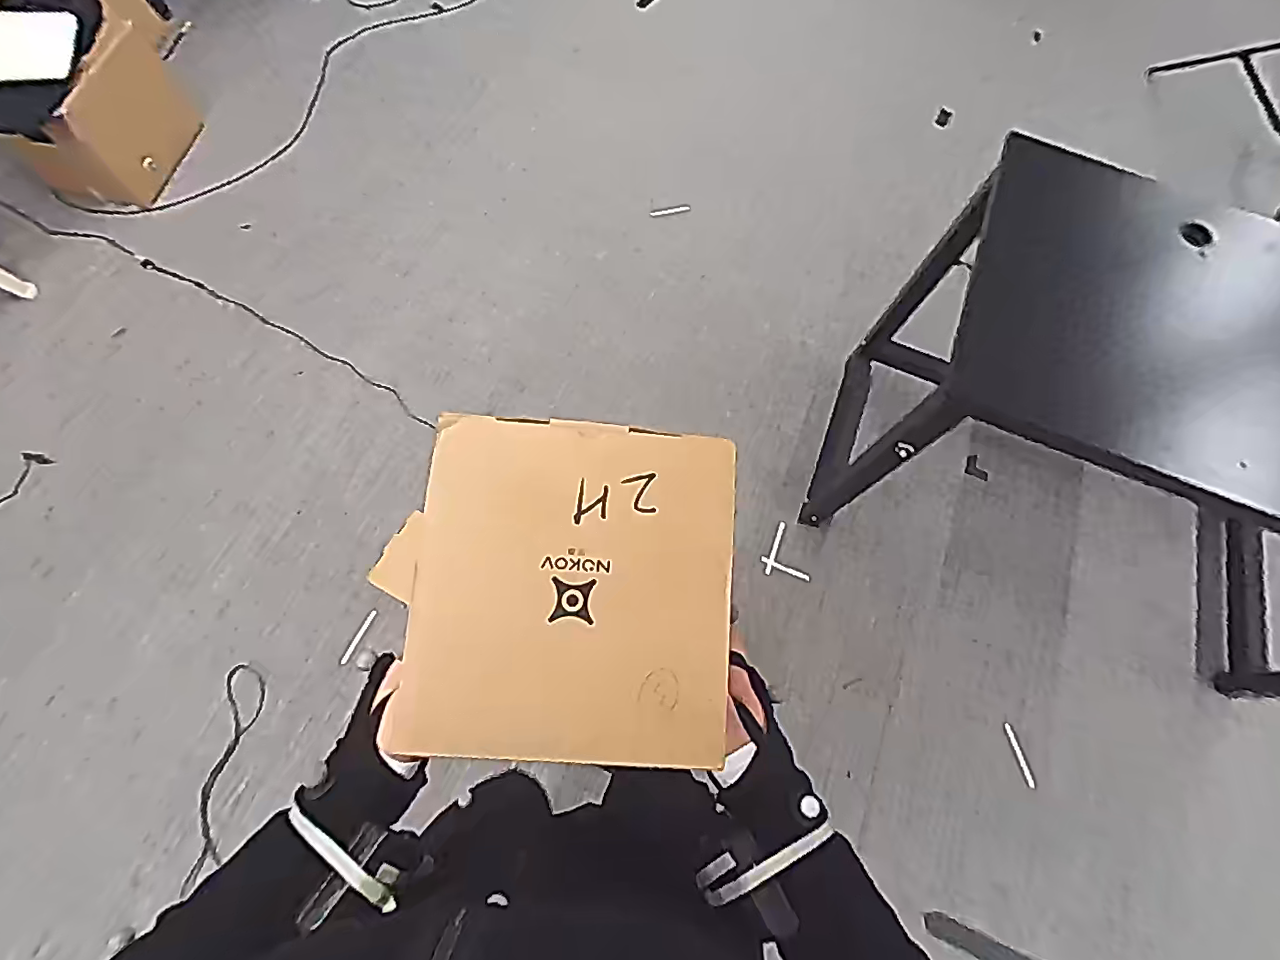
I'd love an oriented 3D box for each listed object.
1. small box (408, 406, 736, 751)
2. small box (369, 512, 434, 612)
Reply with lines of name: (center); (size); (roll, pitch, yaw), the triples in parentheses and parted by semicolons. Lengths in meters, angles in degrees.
small box: (-0.037, 0.065, 0.369); (0.168, 0.176, 0.179); (4, 77, -4)
small box: (-0.422, 0.196, 1.145); (0.179, 0.176, 0.168); (28, 72, 6)
